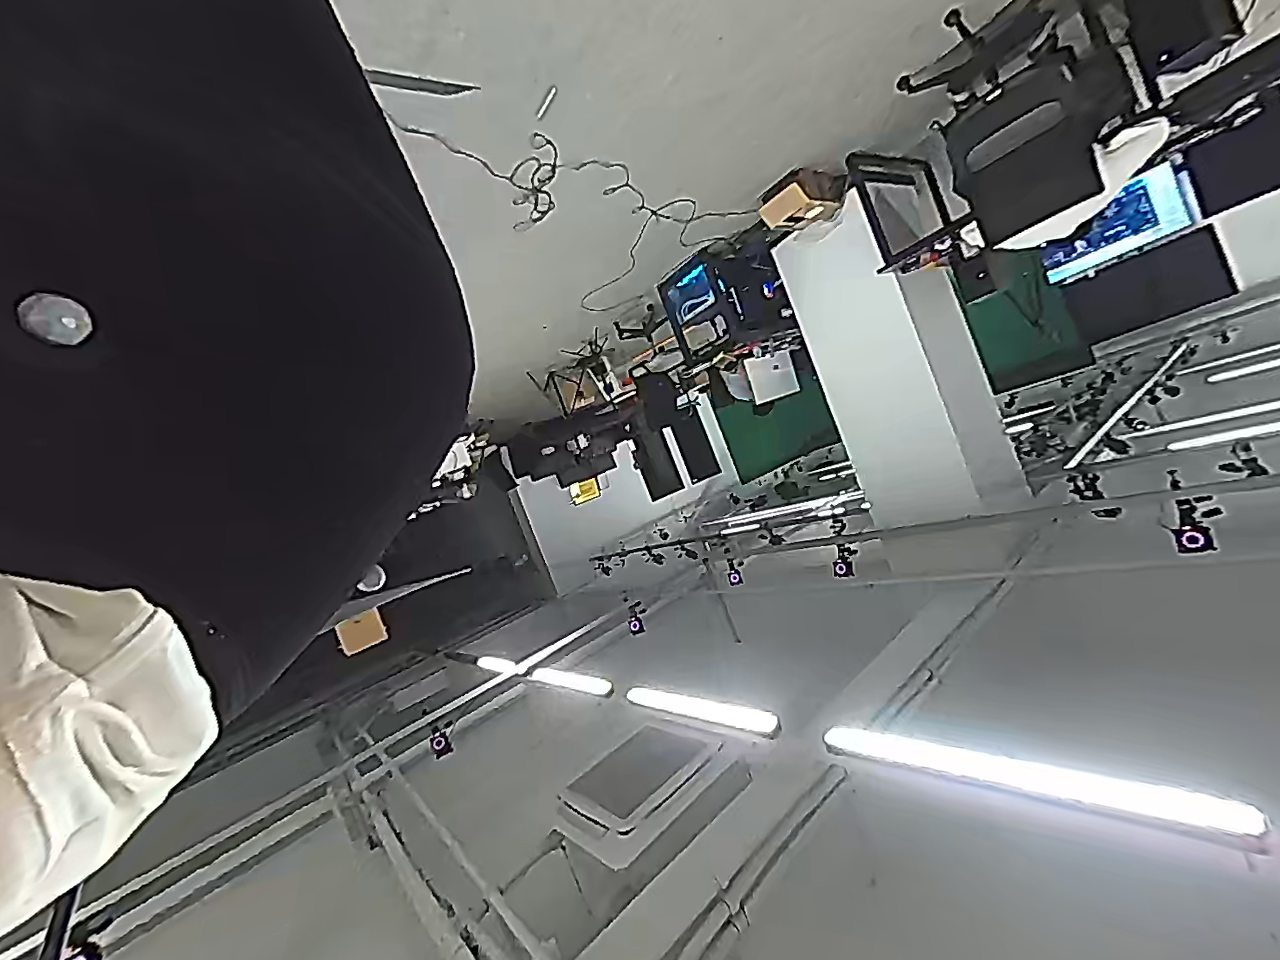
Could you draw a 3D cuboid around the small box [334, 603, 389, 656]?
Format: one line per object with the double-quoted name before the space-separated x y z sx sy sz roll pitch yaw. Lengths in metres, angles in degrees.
"small box" -1.222 0.649 2.364 0.168 0.176 0.179 -22 180 -34
